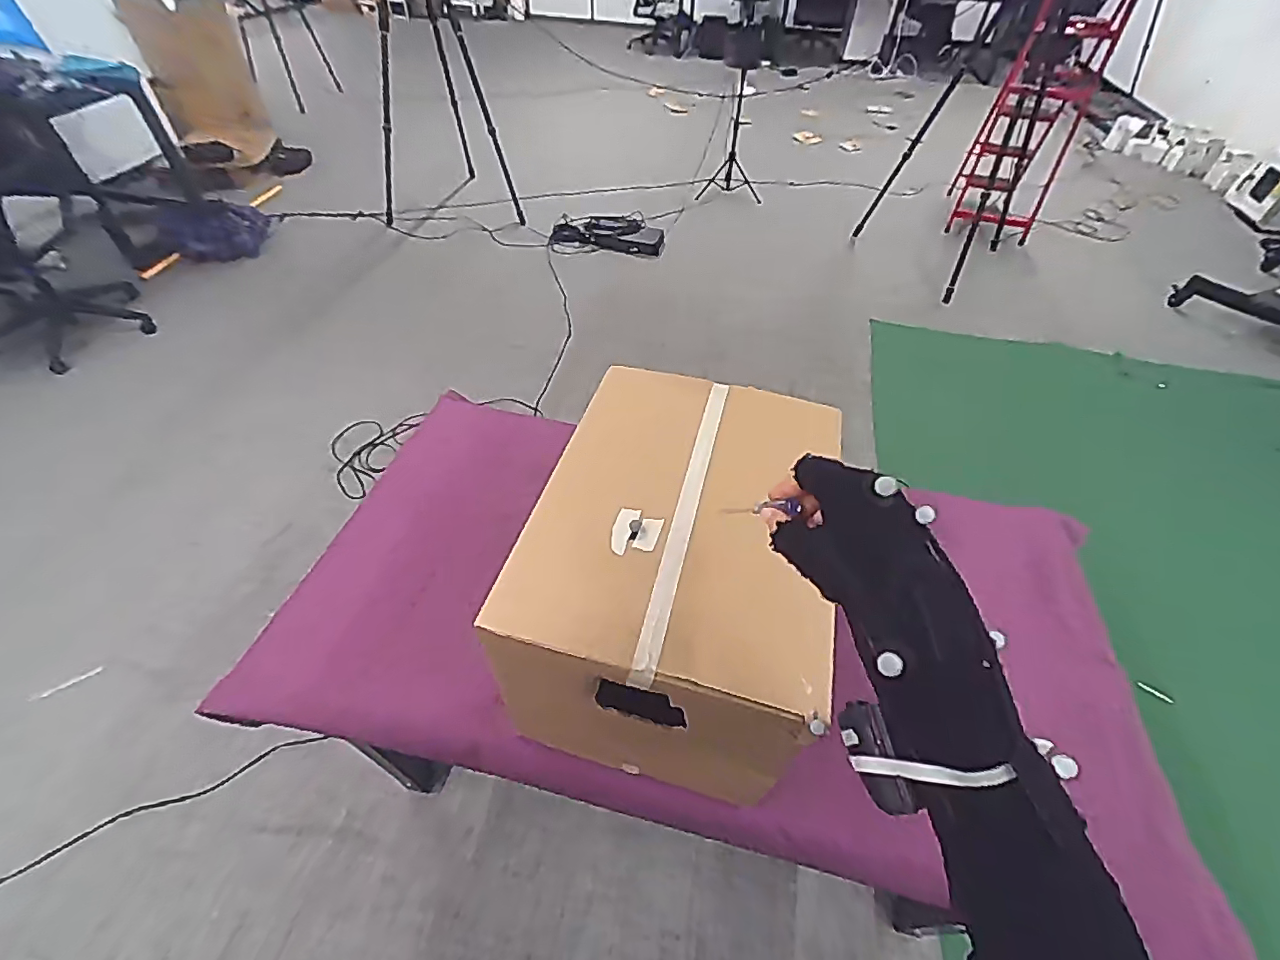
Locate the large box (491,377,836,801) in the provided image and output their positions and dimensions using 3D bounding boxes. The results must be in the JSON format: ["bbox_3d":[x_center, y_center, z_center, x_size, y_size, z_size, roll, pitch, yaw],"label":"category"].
[{"bbox_3d":[0.050,0.130,0.713,0.320,0.320,0.408,13,49,9],"label":"large box"}]
